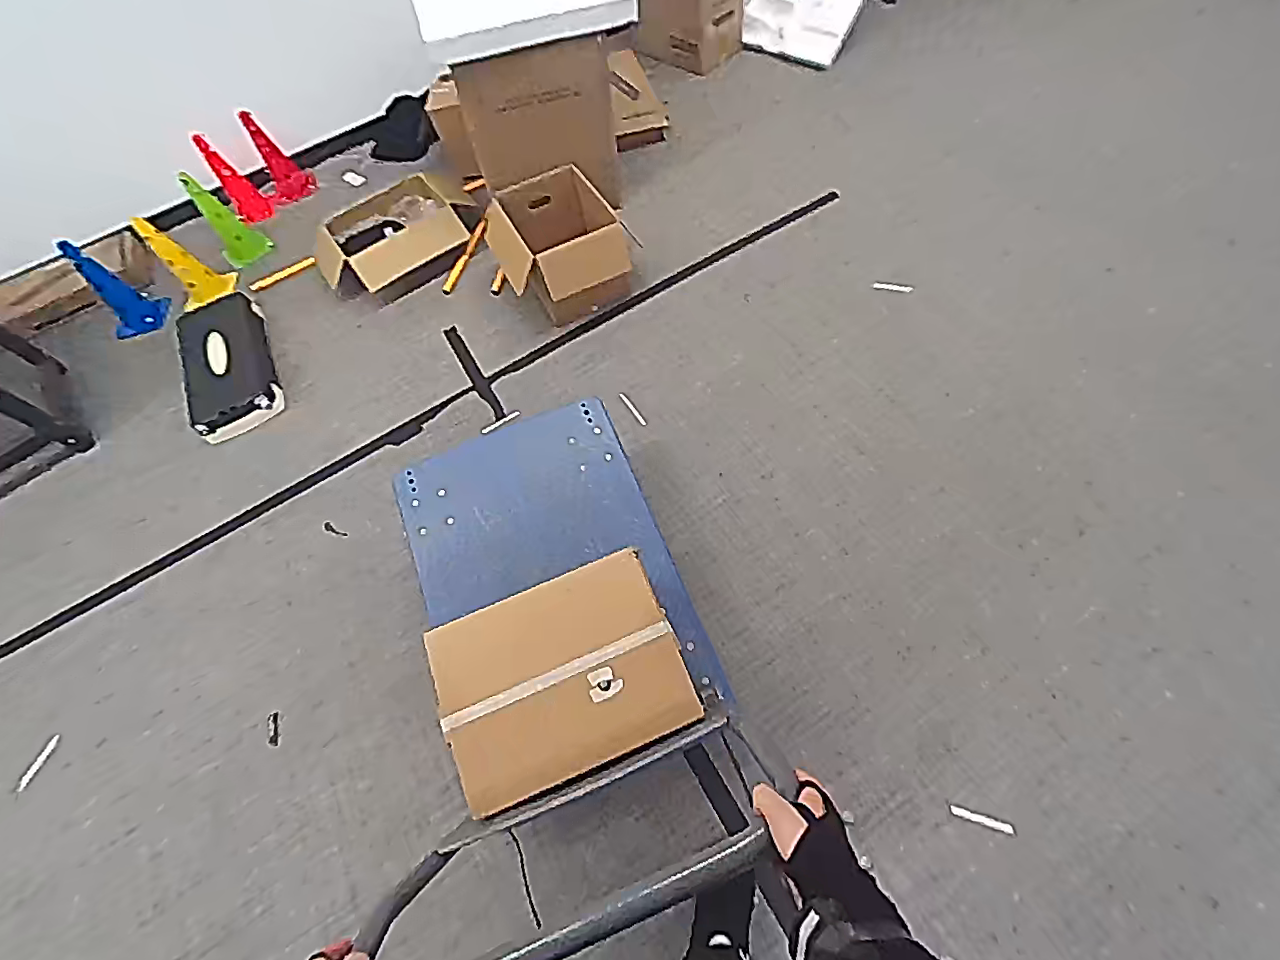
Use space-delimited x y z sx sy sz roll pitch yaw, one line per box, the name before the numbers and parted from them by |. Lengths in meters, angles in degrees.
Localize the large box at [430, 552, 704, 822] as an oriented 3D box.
large box | -0.128 0.391 1.062 0.408 0.320 0.320 -22 71 -7
